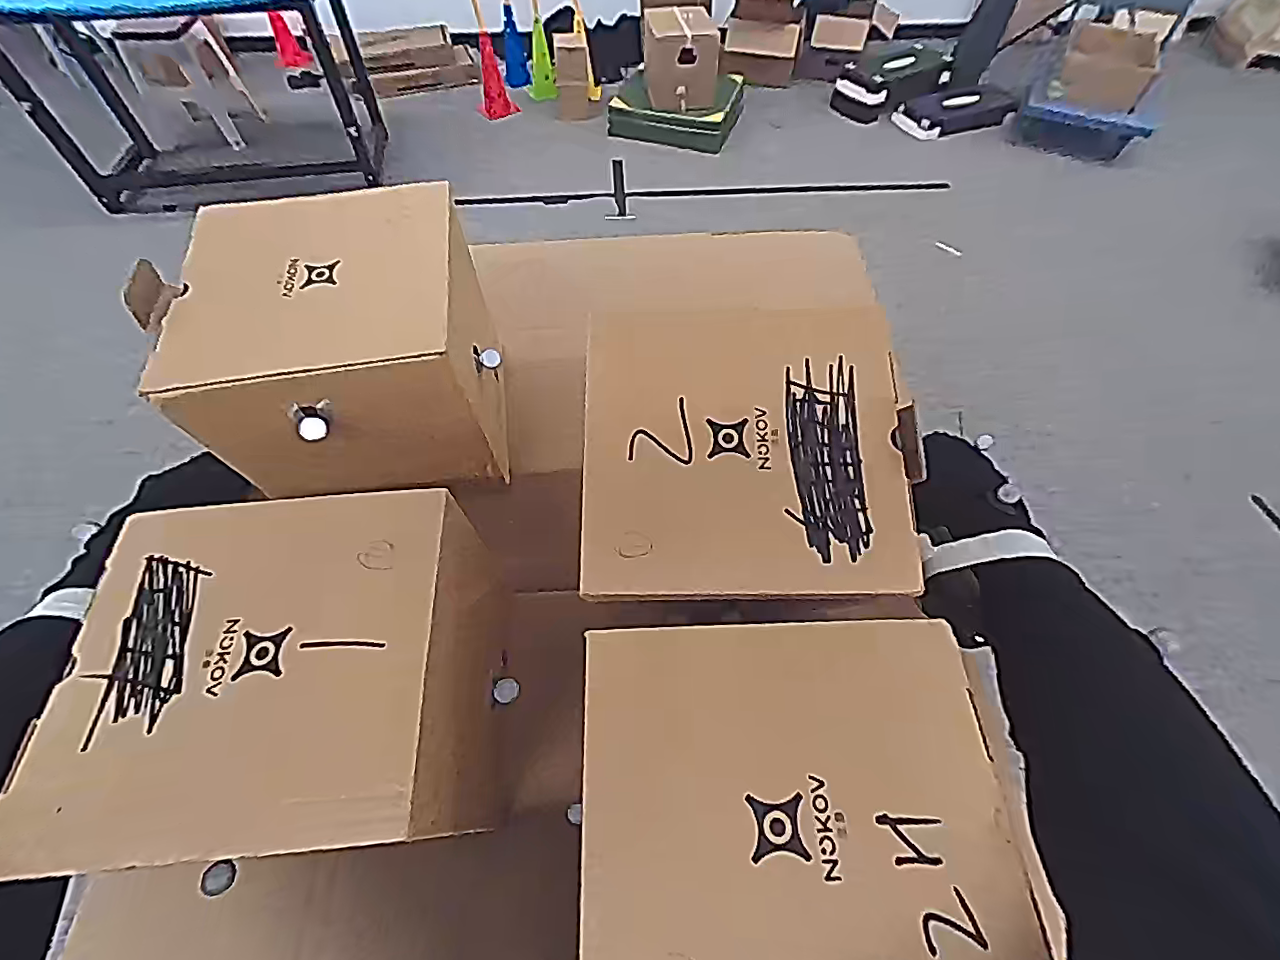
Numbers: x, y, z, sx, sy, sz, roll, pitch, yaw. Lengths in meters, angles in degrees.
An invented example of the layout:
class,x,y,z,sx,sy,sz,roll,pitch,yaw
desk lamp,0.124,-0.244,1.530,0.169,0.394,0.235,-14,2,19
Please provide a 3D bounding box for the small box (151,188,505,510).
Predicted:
class,x,y,z,sx,sy,sz,roll,pitch,yaw
small box,-0.208,-0.092,0.424,0.179,0.176,0.168,-9,61,-3
